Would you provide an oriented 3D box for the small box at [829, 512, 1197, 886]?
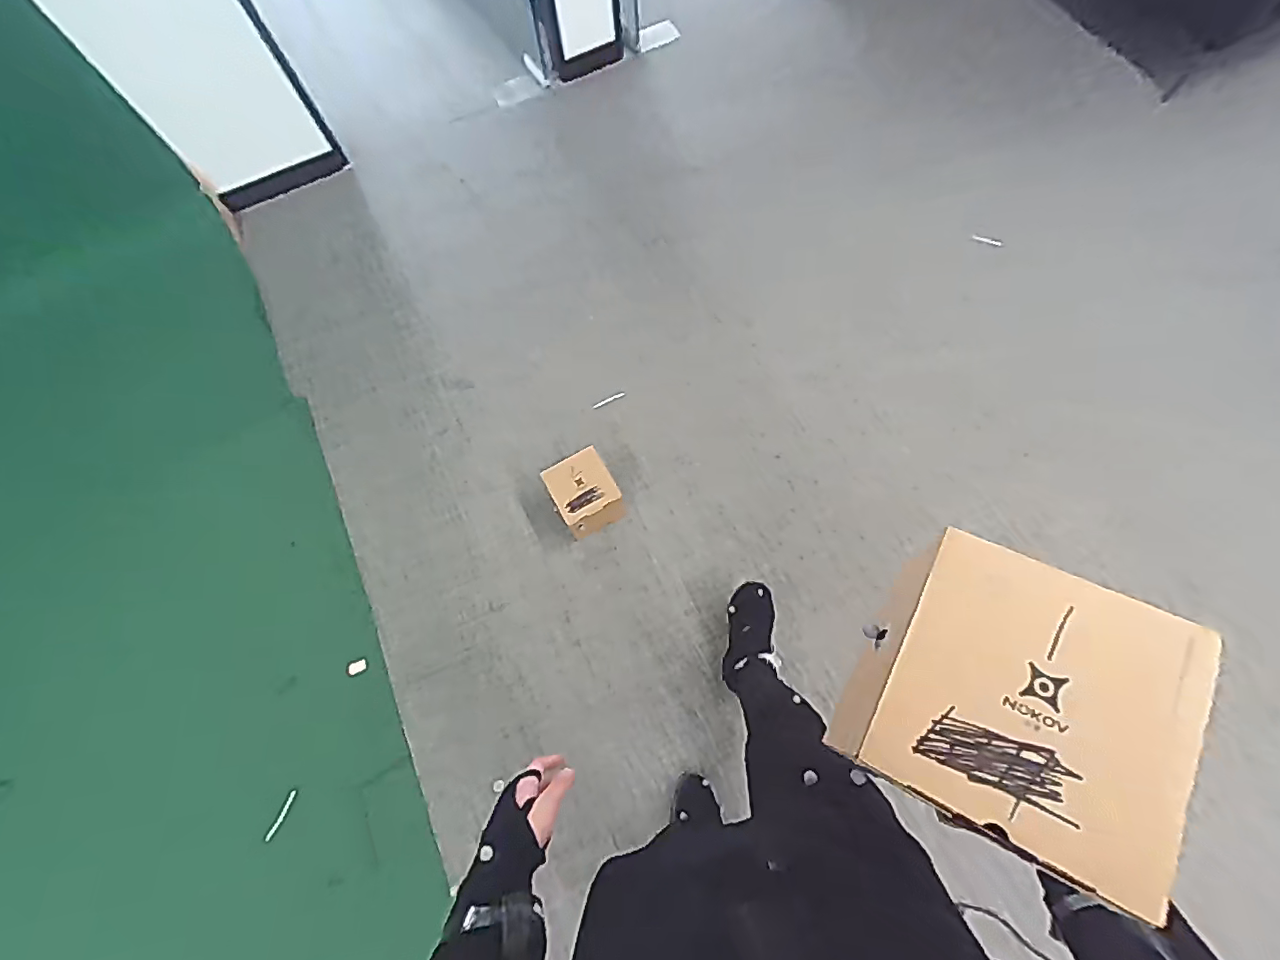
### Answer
[{"bbox_3d":[0.260,0.157,0.421,0.168,0.176,0.179,23,72,19],"label":"small box"}]
